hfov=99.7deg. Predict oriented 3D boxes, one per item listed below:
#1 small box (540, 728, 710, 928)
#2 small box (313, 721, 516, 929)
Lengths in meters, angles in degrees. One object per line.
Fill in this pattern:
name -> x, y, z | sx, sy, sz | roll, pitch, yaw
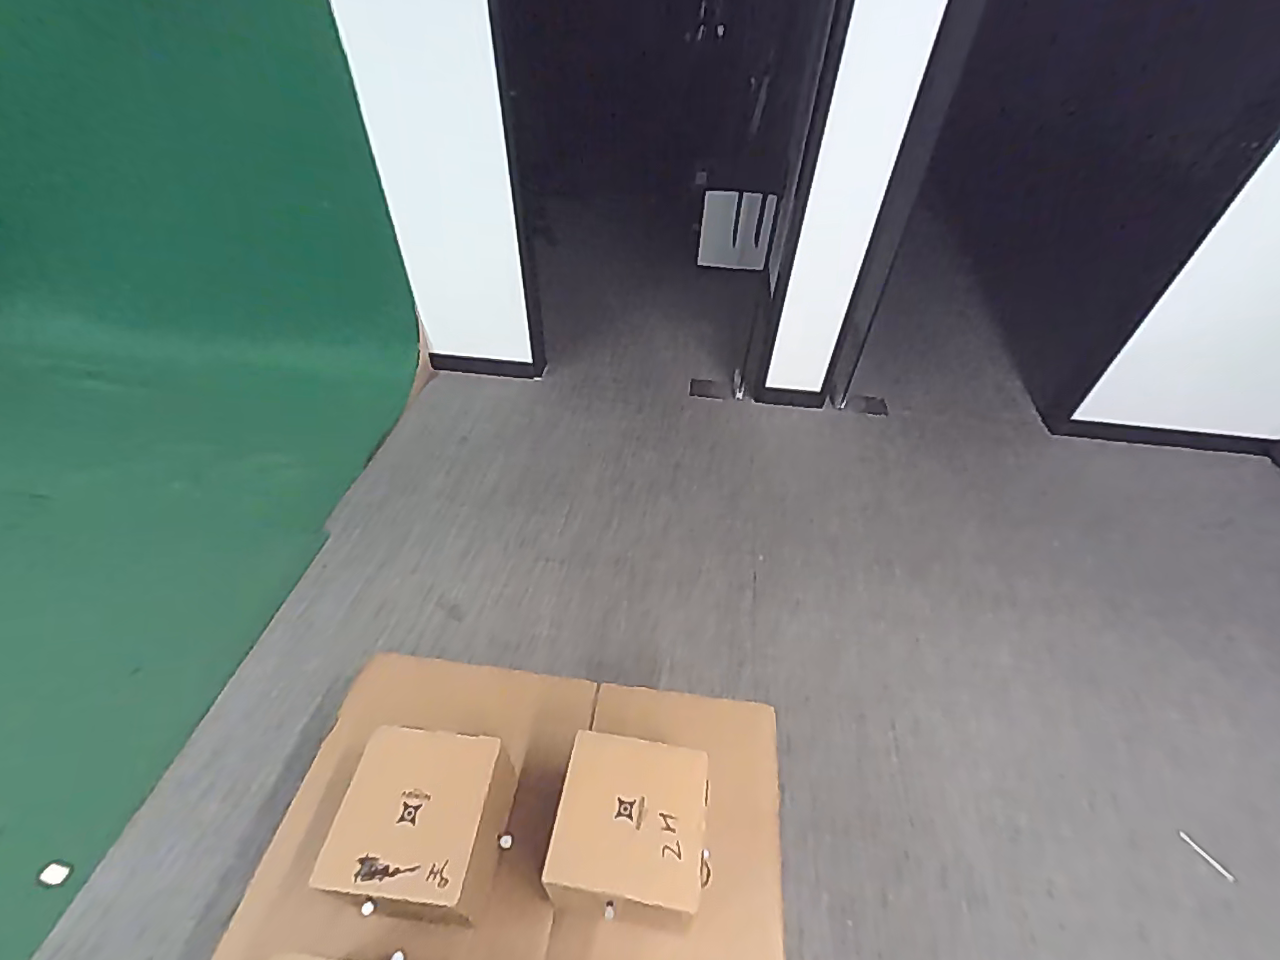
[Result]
small box -> -0.011, 0.445, 0.691 | 0.179, 0.176, 0.168 | 7, 45, 7
small box -> -0.264, 0.436, 0.688 | 0.168, 0.176, 0.179 | 4, 43, 4
